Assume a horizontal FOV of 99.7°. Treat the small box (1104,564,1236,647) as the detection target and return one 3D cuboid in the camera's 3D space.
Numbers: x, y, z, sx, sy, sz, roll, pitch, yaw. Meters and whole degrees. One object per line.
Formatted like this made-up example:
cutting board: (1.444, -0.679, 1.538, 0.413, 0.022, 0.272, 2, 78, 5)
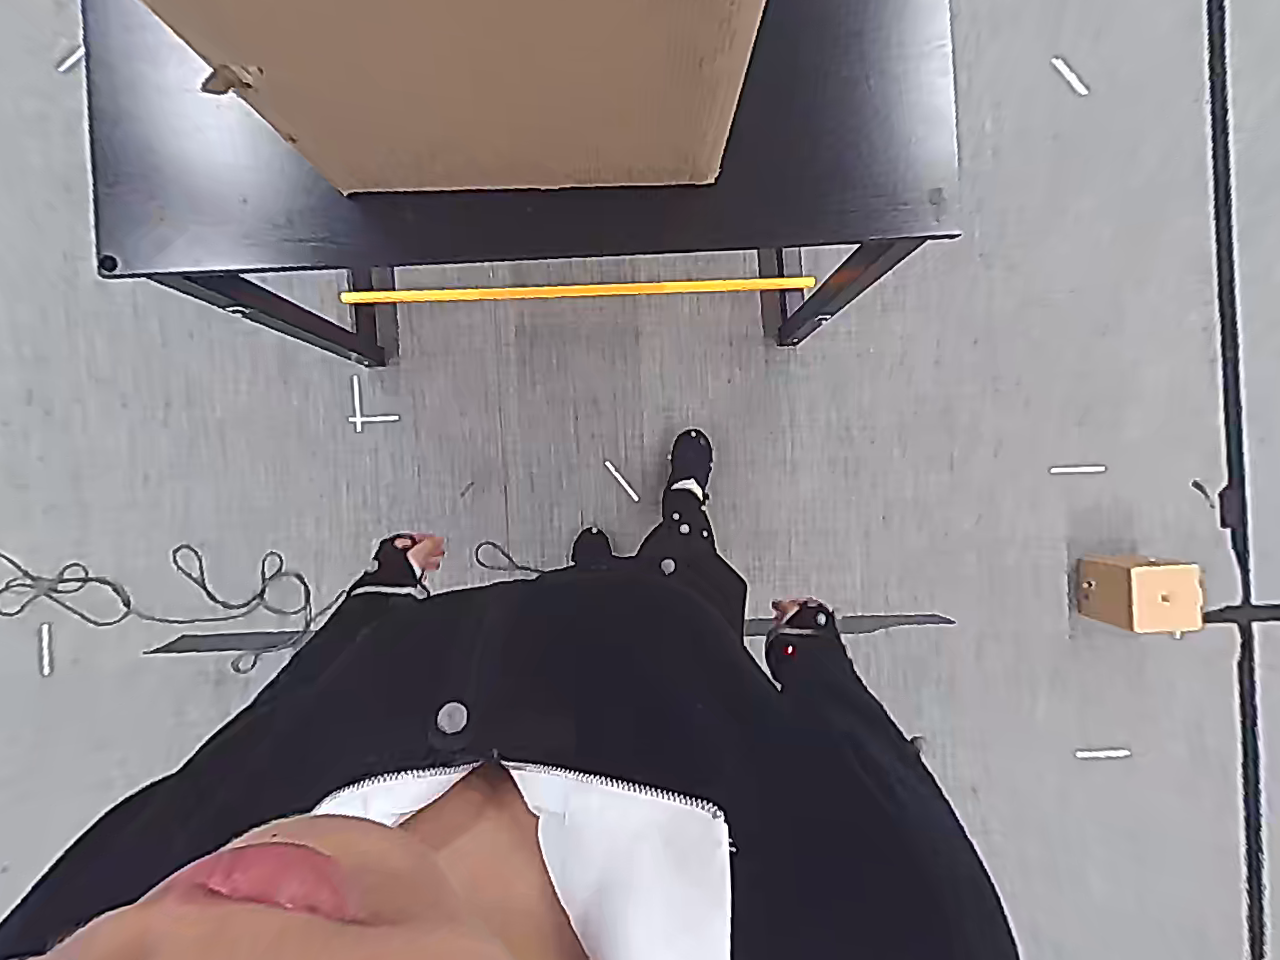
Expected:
small box: (1.327, 0.309, 1.362, 0.179, 0.176, 0.168, -4, 90, 0)
